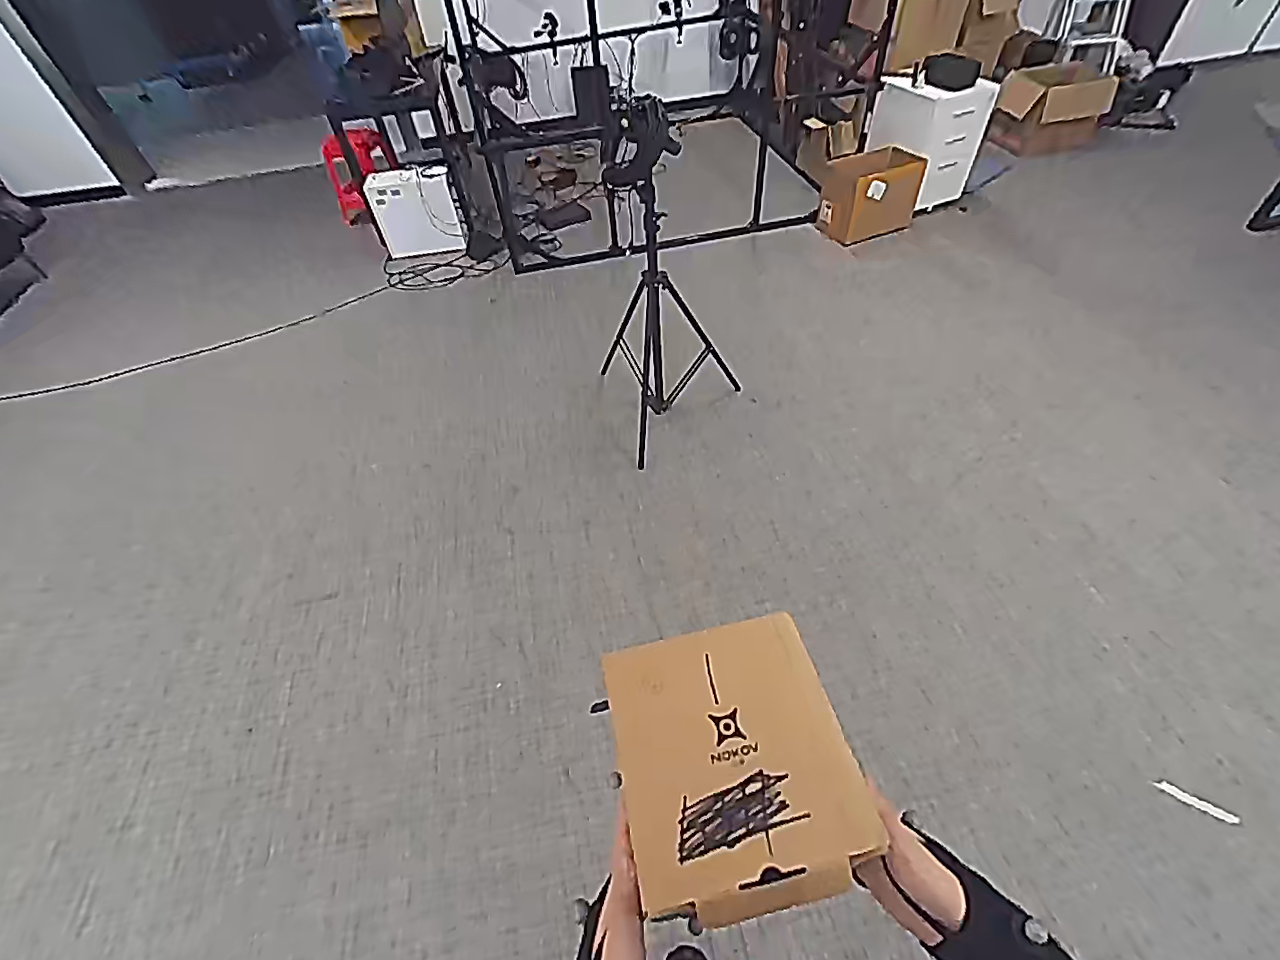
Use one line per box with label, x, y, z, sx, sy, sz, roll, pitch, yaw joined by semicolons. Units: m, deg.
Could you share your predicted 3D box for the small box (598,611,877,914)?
small box;0.067;0.242;0.459;0.168;0.176;0.179;-12;49;-5
